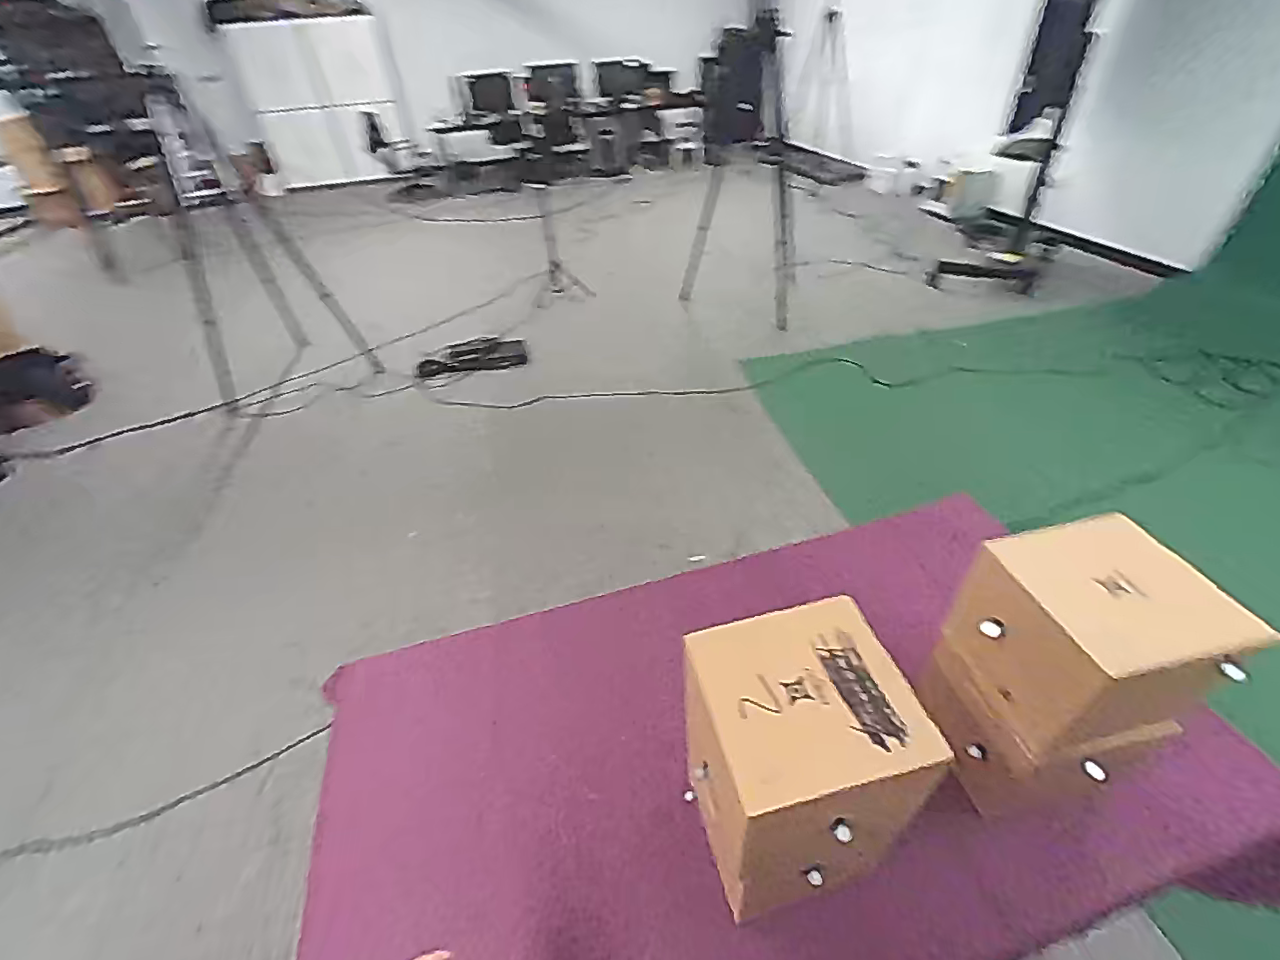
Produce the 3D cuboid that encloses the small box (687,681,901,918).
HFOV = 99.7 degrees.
[{"bbox_3d":[0.165,0.372,0.632,0.179,0.176,0.168,-13,40,-9],"label":"small box"}]

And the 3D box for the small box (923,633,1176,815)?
[{"bbox_3d":[0.489,0.297,0.686,0.179,0.176,0.168,-9,40,-4],"label":"small box"}]

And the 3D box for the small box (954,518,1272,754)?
[{"bbox_3d":[0.475,0.169,0.586,0.179,0.176,0.168,-10,41,-6],"label":"small box"}]
